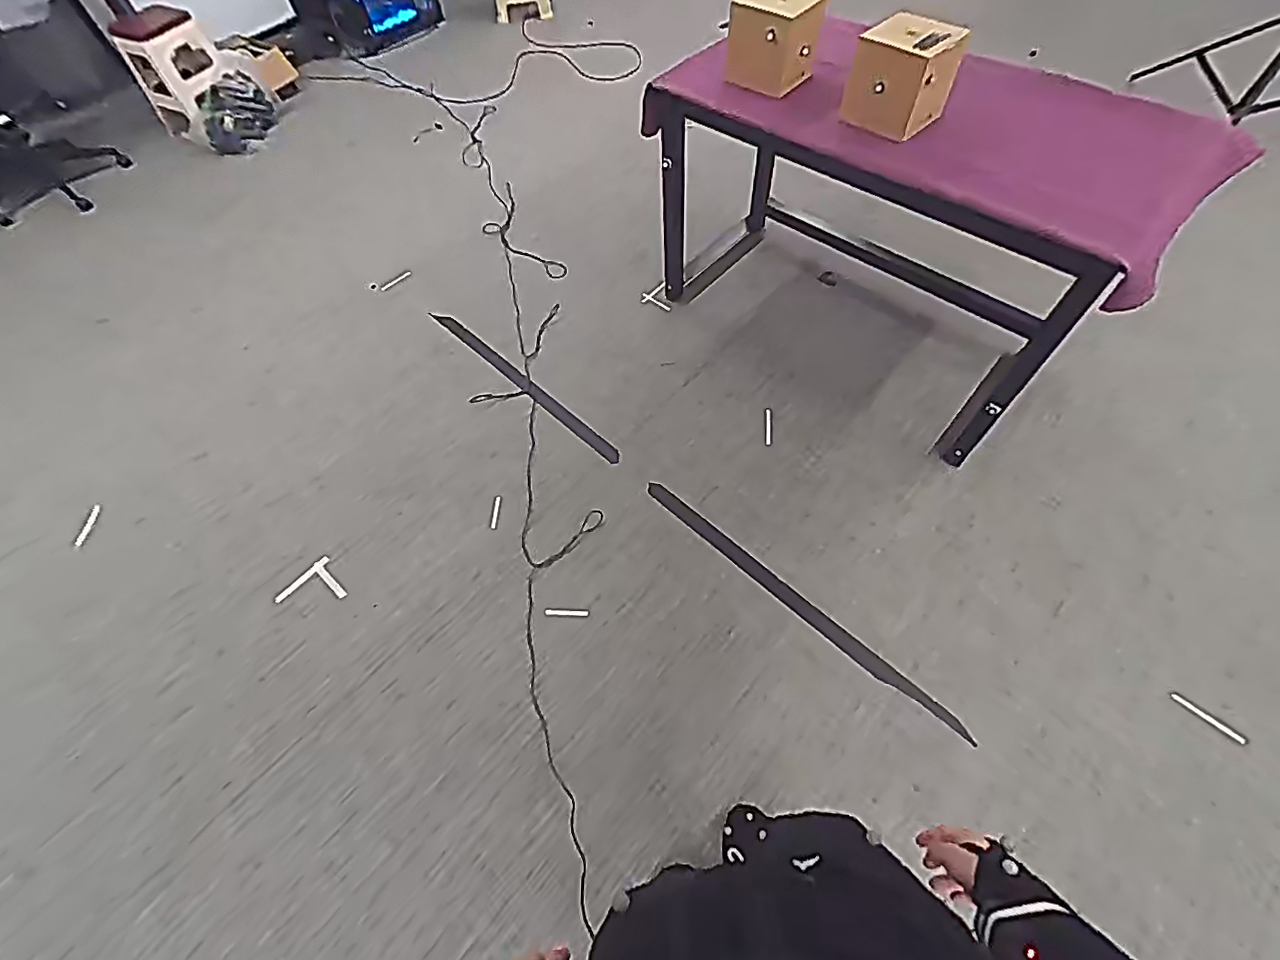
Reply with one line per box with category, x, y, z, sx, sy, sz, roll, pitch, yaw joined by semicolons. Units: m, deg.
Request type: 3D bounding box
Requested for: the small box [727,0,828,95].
small box;0.337;-1.104;1.356;0.179;0.176;0.168;35;66;22
